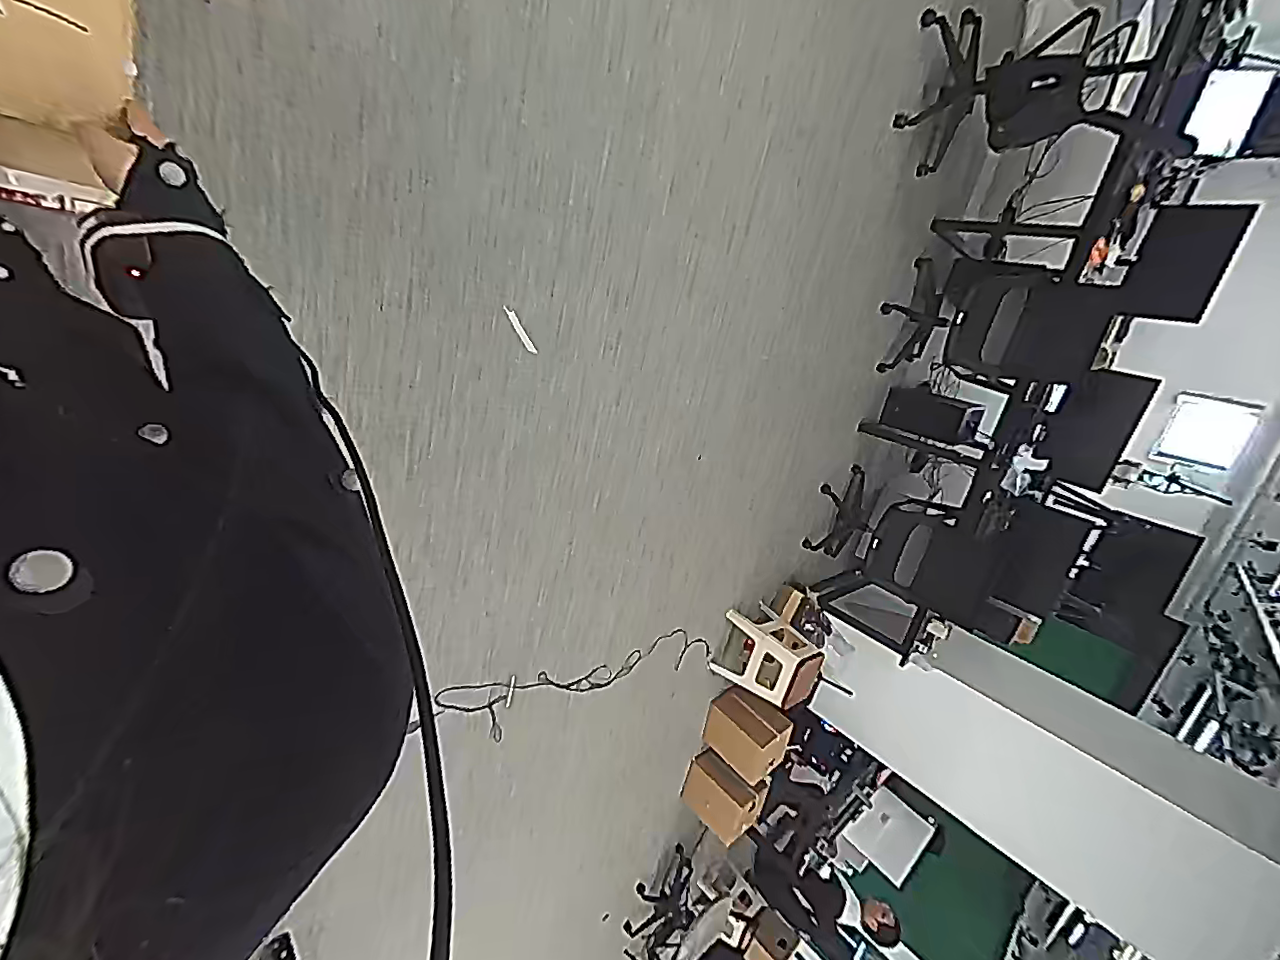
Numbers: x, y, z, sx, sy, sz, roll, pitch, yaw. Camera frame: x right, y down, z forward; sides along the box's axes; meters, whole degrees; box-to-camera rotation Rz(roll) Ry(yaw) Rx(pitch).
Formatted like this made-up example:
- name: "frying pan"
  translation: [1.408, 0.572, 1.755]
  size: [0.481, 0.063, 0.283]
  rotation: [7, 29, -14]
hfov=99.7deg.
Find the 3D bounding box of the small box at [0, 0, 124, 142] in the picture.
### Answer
- name: "small box"
  translation: [-0.548, -0.394, 0.436]
  size: [0.179, 0.176, 0.168]
  rotation: [-6, 117, -48]
